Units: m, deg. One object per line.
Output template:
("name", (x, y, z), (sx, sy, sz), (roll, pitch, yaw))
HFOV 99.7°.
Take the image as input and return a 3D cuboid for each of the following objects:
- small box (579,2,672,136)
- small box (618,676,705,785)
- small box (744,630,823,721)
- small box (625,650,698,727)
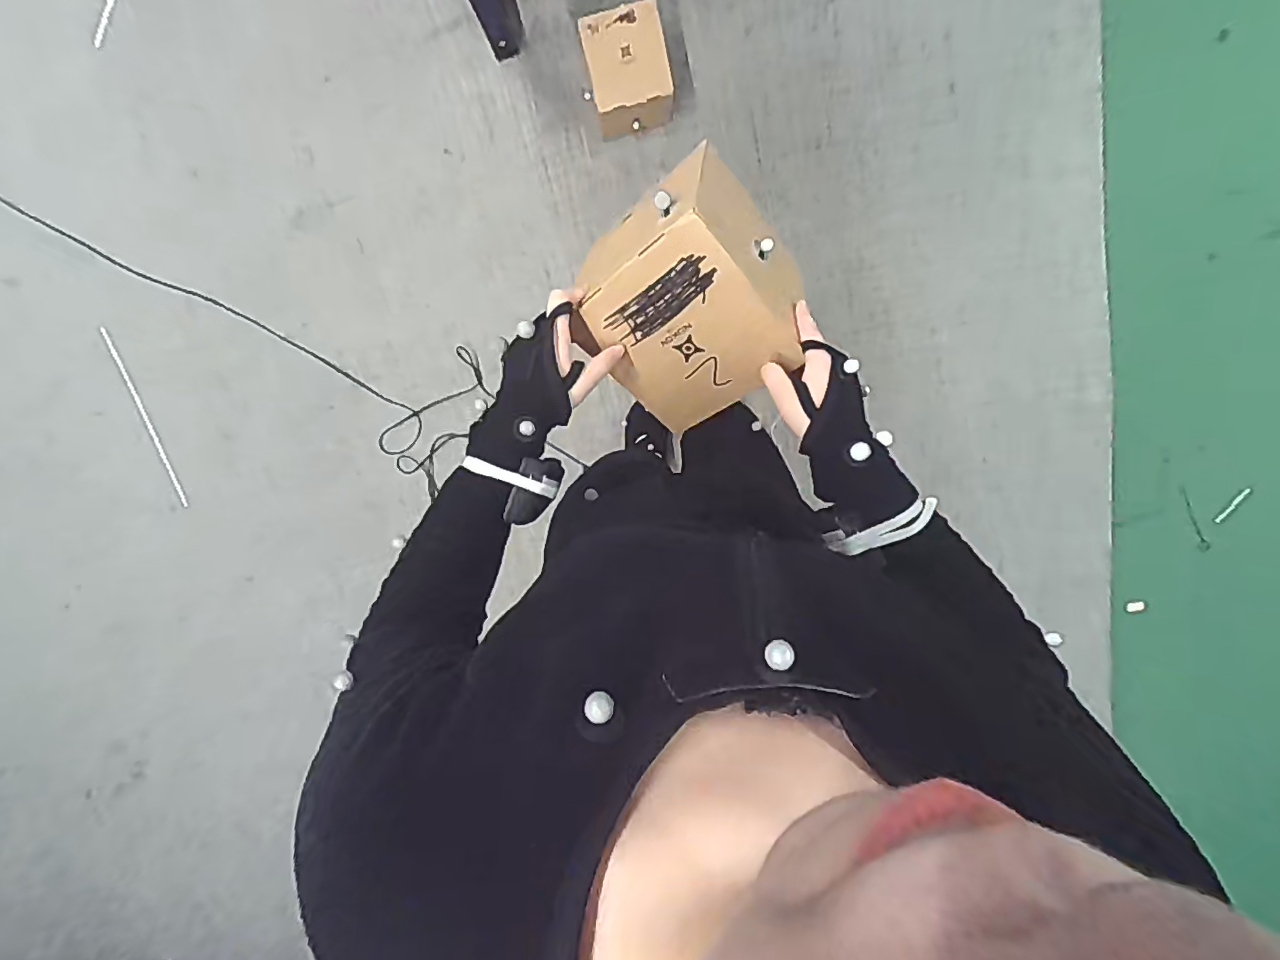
("small box", (-0.028, -0.890, 1.194), (0.168, 0.176, 0.179), (-13, 105, 3))
("small box", (0.052, 0.642, 1.406), (0.179, 0.176, 0.168), (-20, 103, 5))
("small box", (0.405, 0.549, 1.551), (0.168, 0.176, 0.179), (-13, 104, 3))
("small box", (0.058, 0.617, 1.567), (0.179, 0.176, 0.168), (-16, 103, 4))
